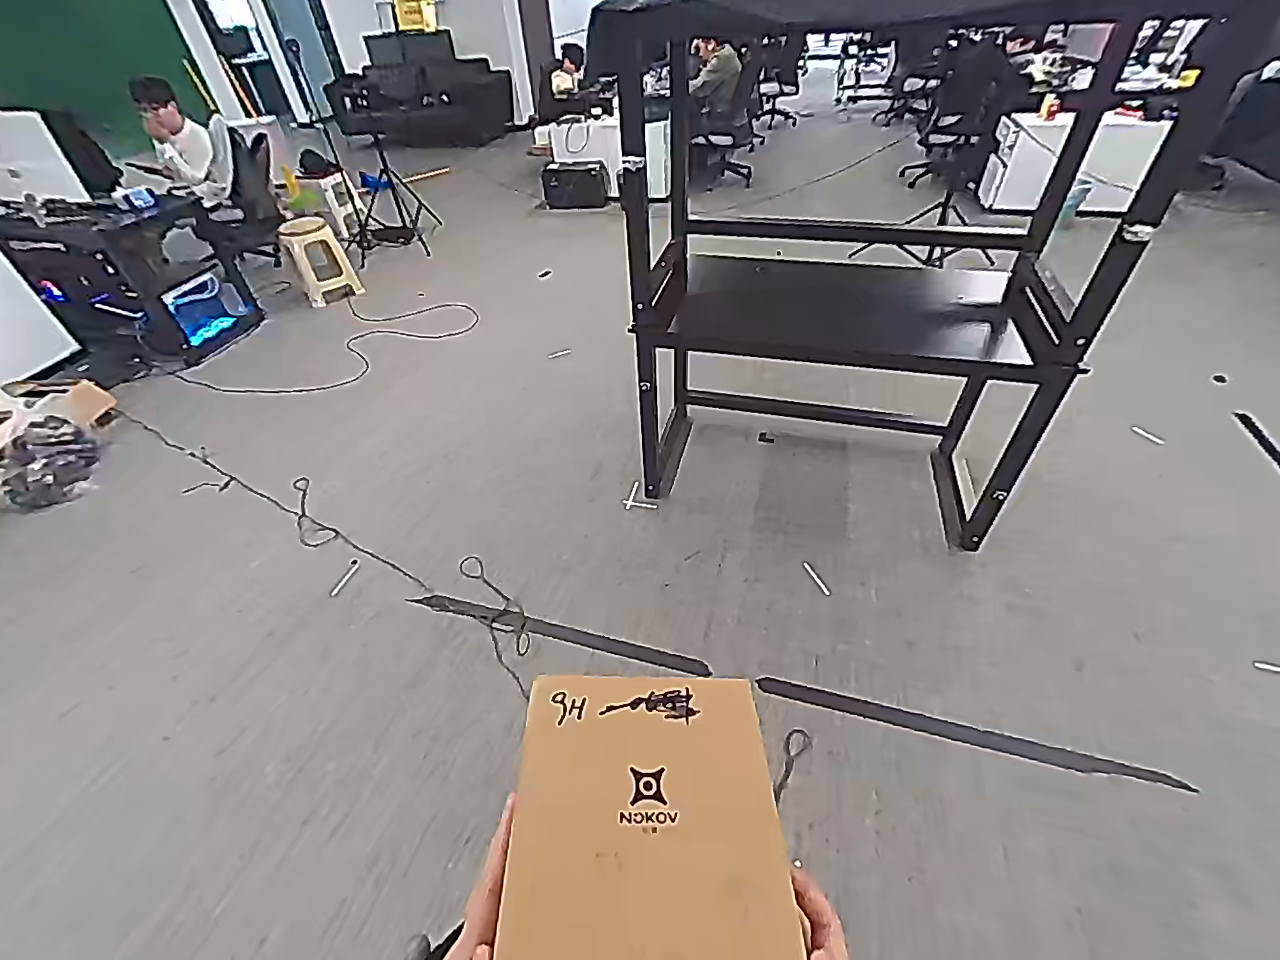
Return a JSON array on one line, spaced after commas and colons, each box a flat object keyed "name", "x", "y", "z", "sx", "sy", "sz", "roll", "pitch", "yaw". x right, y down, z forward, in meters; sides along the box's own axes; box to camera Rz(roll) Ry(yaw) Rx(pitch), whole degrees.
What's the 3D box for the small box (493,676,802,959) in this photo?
[{"name": "small box", "x": -0.001, "y": 0.265, "z": 0.390, "sx": 0.168, "sy": 0.176, "sz": 0.179, "roll": 2, "pitch": 39, "yaw": -4}]
